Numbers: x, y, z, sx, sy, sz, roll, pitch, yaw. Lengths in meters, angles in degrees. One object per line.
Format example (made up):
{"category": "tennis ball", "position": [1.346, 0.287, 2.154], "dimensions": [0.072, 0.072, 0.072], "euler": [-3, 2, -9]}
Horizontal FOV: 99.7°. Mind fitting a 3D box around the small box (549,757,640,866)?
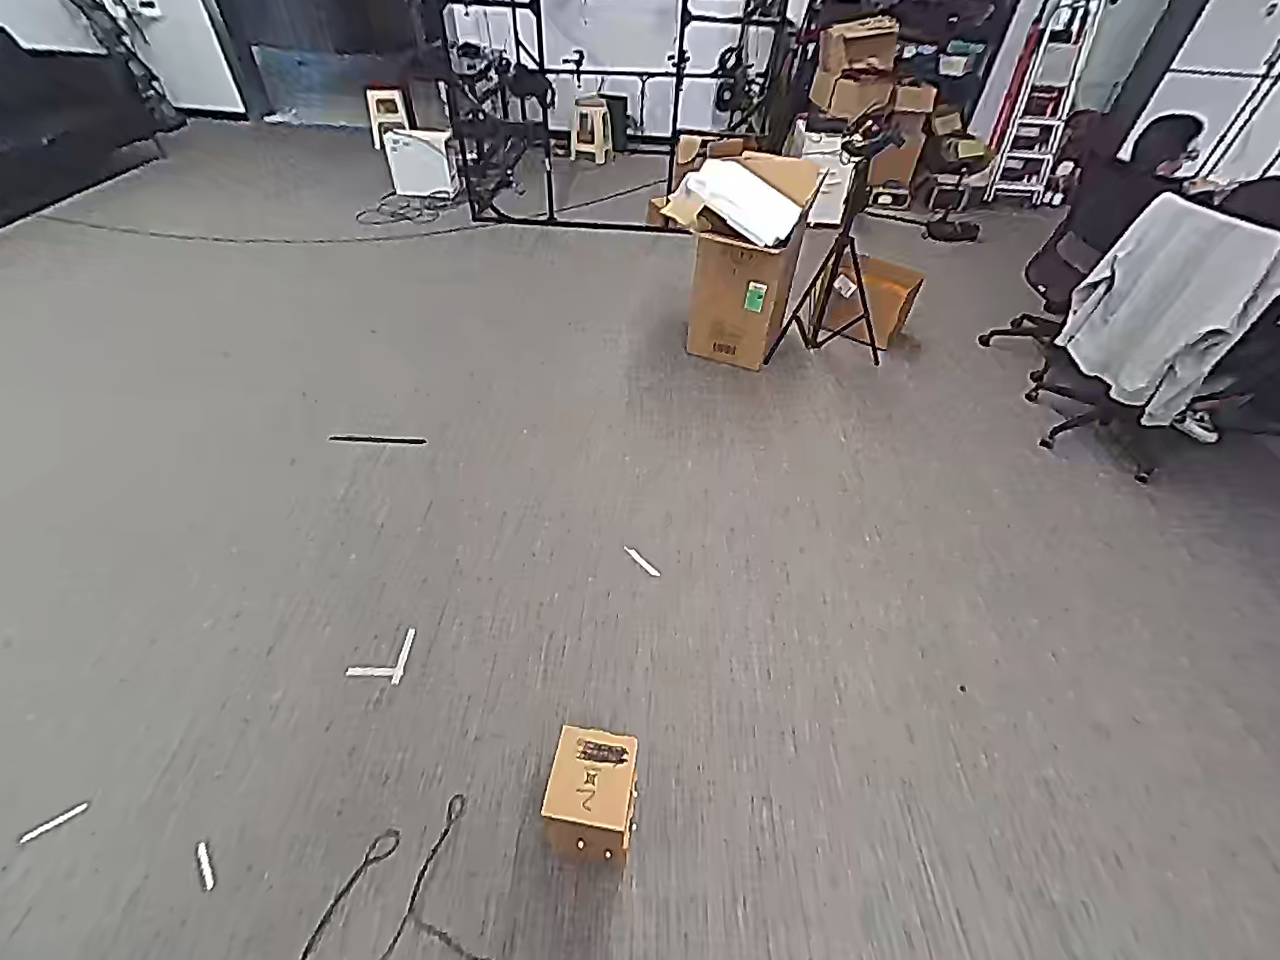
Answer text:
{"category": "small box", "position": [-0.100, 0.772, 1.253], "dimensions": [0.179, 0.176, 0.168], "euler": [7, 44, 4]}
